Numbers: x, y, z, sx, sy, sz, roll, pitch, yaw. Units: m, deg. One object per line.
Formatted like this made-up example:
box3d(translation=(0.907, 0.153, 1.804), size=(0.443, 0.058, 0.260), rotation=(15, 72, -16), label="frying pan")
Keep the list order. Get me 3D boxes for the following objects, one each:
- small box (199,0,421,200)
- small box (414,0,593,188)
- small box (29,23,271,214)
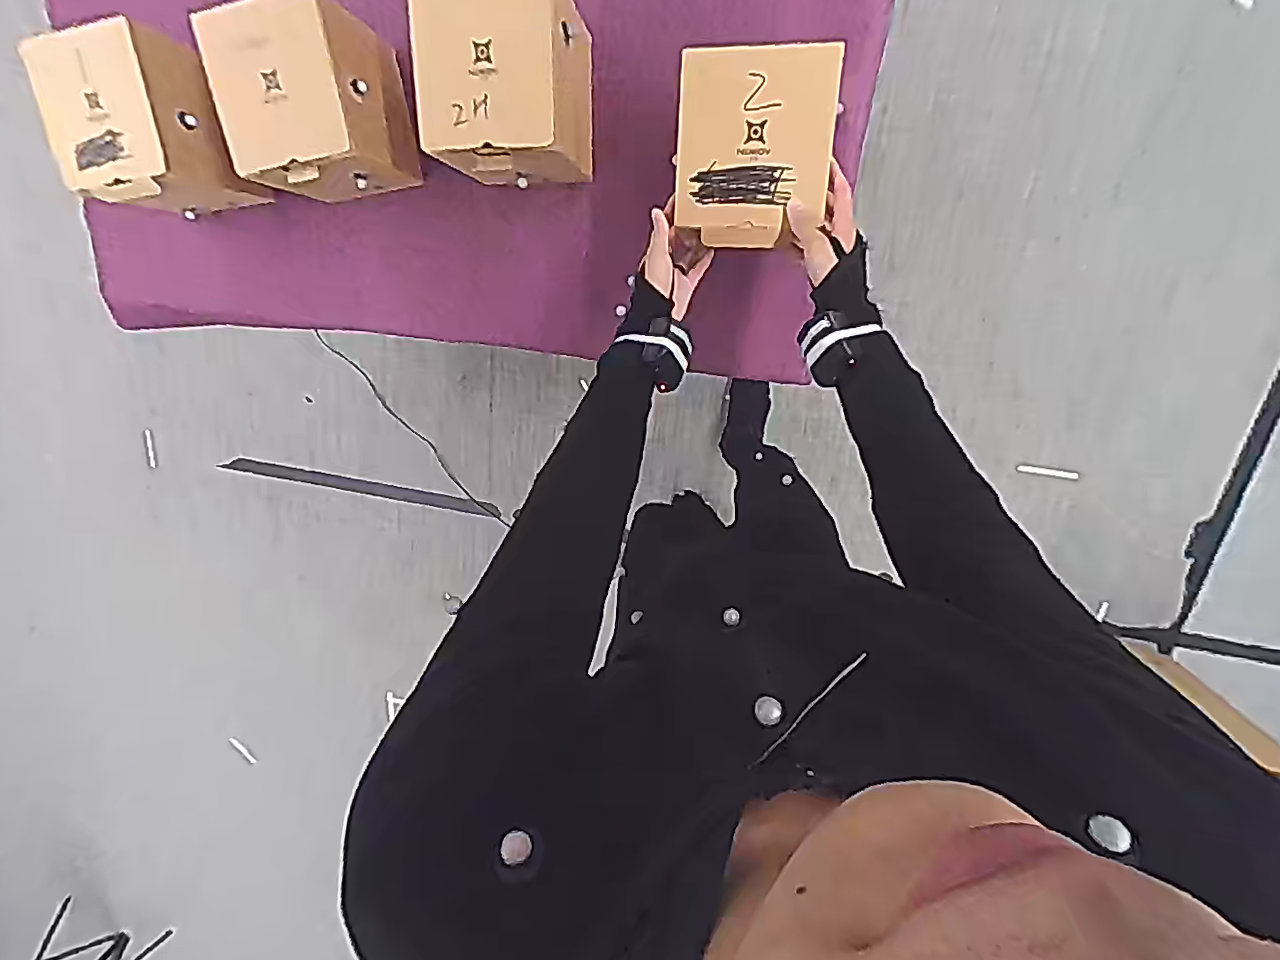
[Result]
box3d(translation=(-0.421, -0.489, 0.724), size=(0.168, 0.176, 0.179), rotation=(-4, 105, 10), label="small box")
box3d(translation=(-0.159, -0.484, 0.679), size=(0.168, 0.176, 0.179), rotation=(4, 107, 9), label="small box")
box3d(translation=(-0.669, -0.488, 0.764), size=(0.168, 0.176, 0.179), rotation=(-3, 105, 10), label="small box")
